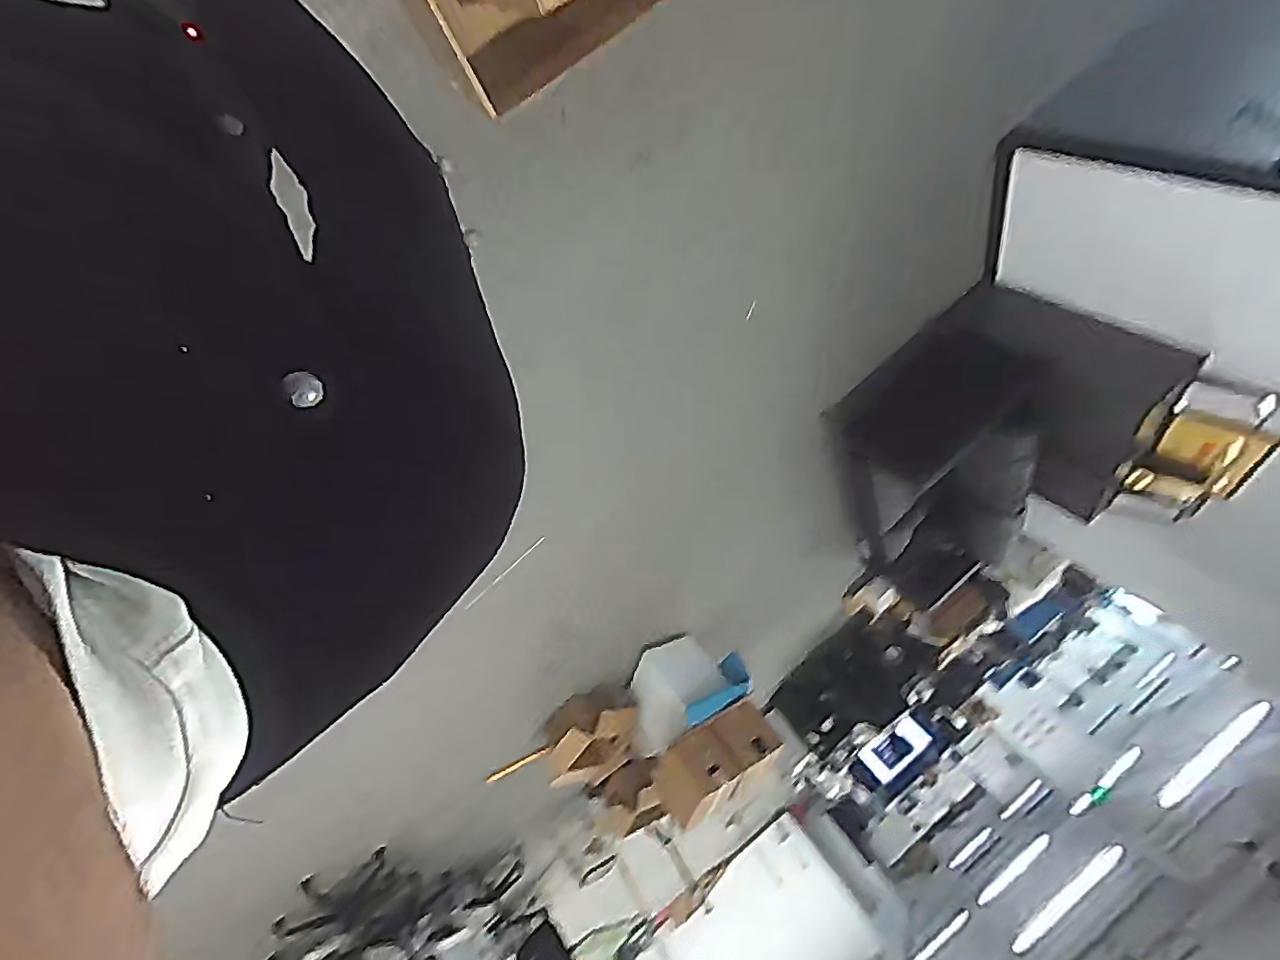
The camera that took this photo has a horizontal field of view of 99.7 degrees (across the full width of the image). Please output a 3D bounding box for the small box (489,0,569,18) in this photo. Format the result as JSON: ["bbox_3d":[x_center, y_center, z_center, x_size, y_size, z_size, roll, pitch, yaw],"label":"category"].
[{"bbox_3d":[-0.135,-0.742,0.703,0.179,0.176,0.168,-40,141,-6],"label":"small box"}]
